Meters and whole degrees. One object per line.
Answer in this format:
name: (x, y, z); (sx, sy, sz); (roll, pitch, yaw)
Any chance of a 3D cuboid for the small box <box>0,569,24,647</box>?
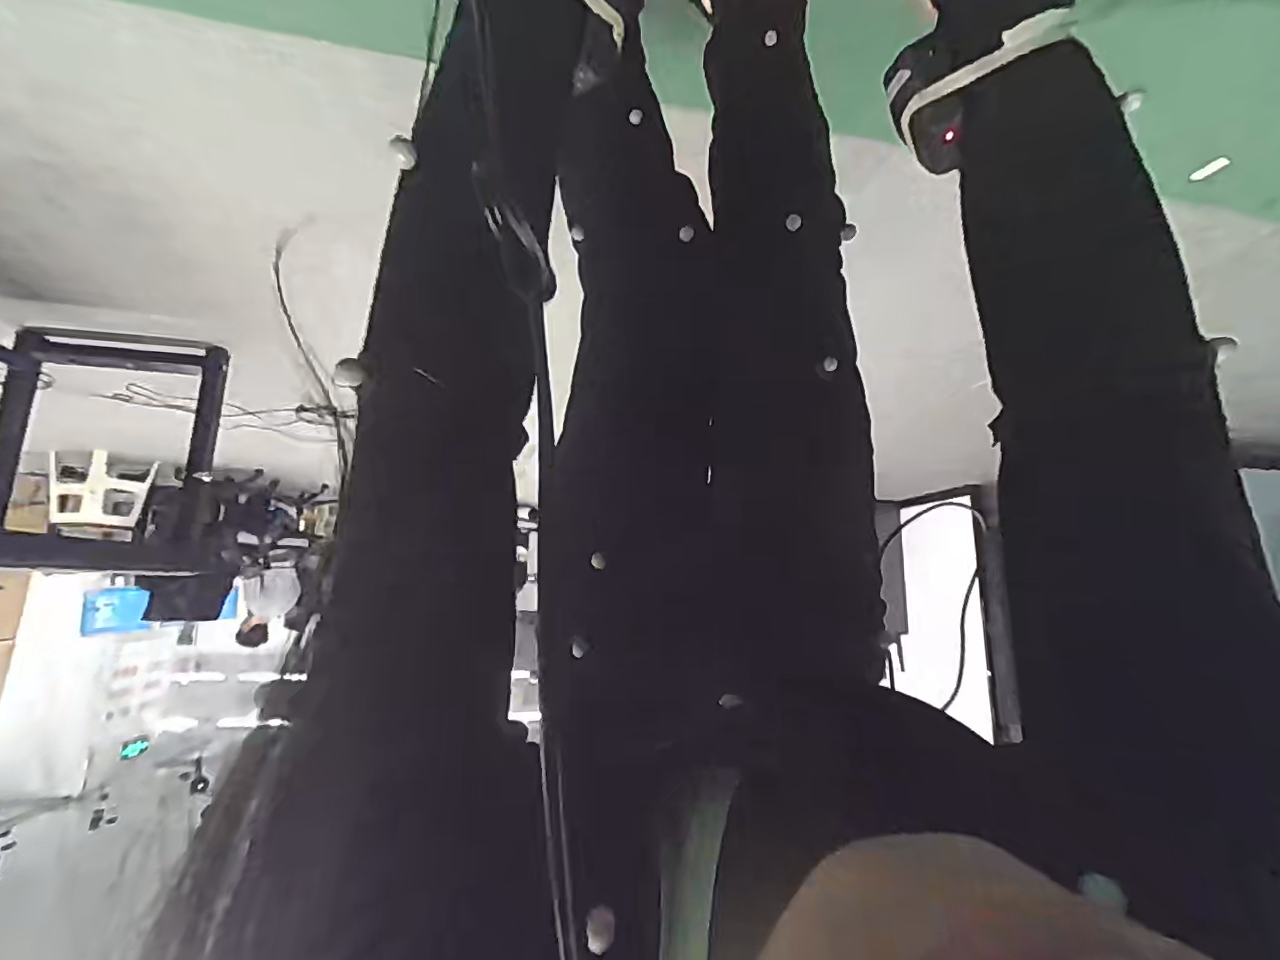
small box: (-1.473, 0.266, 1.131); (0.179, 0.176, 0.168); (4, 169, -10)
